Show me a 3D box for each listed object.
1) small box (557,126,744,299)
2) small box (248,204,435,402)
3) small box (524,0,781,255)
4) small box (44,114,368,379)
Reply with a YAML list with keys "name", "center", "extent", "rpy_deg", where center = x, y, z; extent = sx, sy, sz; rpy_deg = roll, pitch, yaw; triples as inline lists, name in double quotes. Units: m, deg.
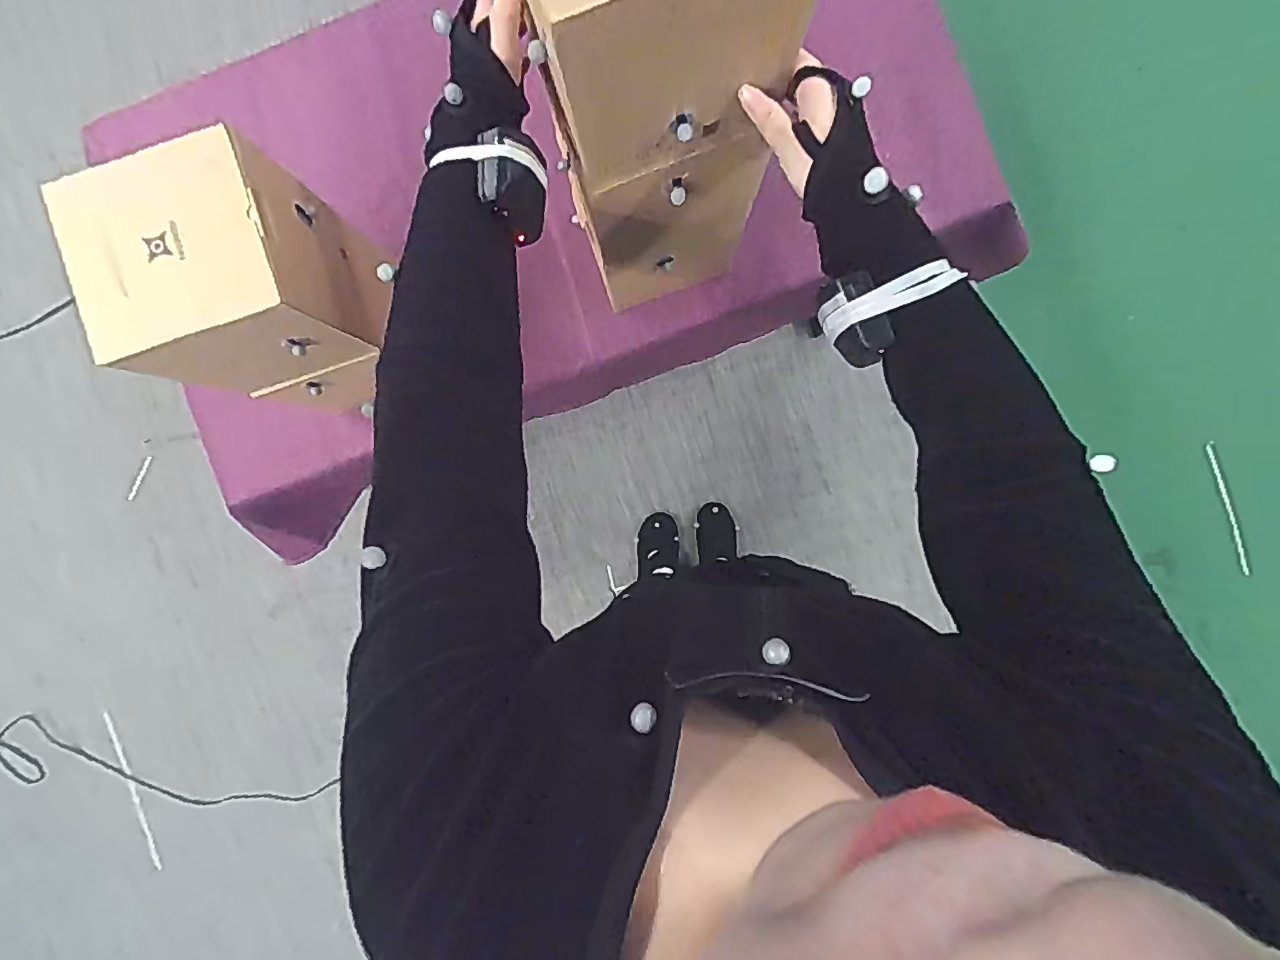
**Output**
- name: "small box"
  center: [0.015, -0.353, 0.687]
  extent: [0.179, 0.176, 0.168]
  rpy_deg: [-19, 91, 2]
- name: "small box"
  center: [-0.398, -0.215, 0.706]
  extent: [0.168, 0.176, 0.179]
  rpy_deg: [-18, 90, 3]
- name: "small box"
  center: [0.013, -0.350, 0.524]
  extent: [0.179, 0.176, 0.168]
  rpy_deg: [-19, 91, 3]
- name: "small box"
  center: [-0.404, -0.212, 0.542]
  extent: [0.179, 0.176, 0.168]
  rpy_deg: [-17, 91, 3]
